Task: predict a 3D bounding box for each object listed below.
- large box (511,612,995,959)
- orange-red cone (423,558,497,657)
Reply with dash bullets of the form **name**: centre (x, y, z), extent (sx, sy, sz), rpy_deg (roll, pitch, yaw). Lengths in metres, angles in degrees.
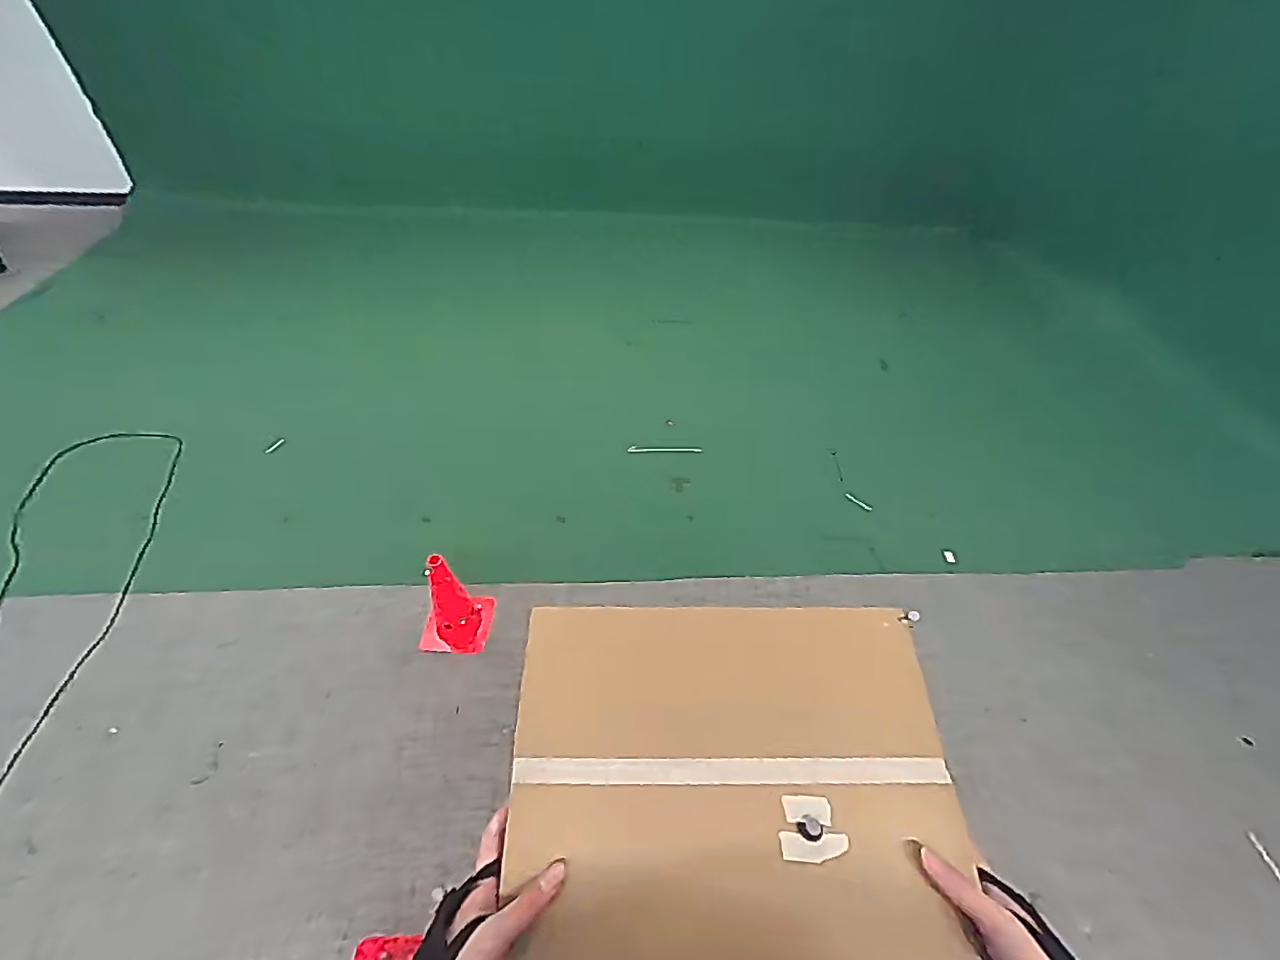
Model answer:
- **large box**: centre (0.087, 0.359, 0.636), extent (0.408, 0.320, 0.320), rpy_deg (0, 58, 0)
- **orange-red cone**: centre (-0.569, 0.351, 1.606), extent (0.199, 0.360, 0.198), rpy_deg (4, 46, 2)
